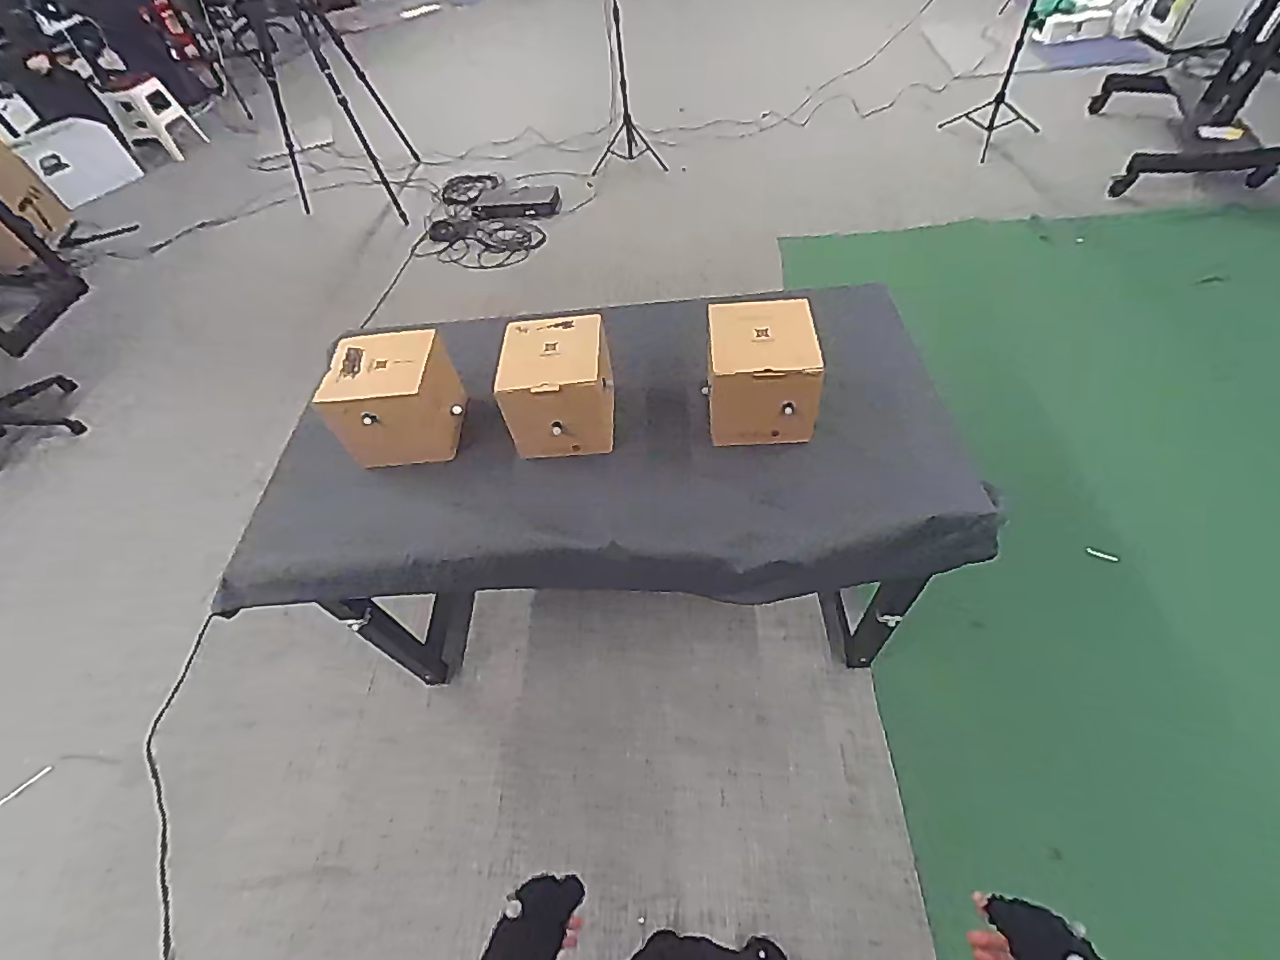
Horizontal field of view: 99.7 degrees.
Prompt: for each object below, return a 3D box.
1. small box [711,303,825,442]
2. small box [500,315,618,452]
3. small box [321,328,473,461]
[{"bbox_3d":[0.206,-0.176,0.922,0.168,0.176,0.179,-1,52,5],"label":"small box"},{"bbox_3d":[-0.131,-0.162,0.950,0.168,0.176,0.179,-3,53,4],"label":"small box"},{"bbox_3d":[-0.423,-0.148,0.973,0.179,0.176,0.168,-4,53,2],"label":"small box"}]
